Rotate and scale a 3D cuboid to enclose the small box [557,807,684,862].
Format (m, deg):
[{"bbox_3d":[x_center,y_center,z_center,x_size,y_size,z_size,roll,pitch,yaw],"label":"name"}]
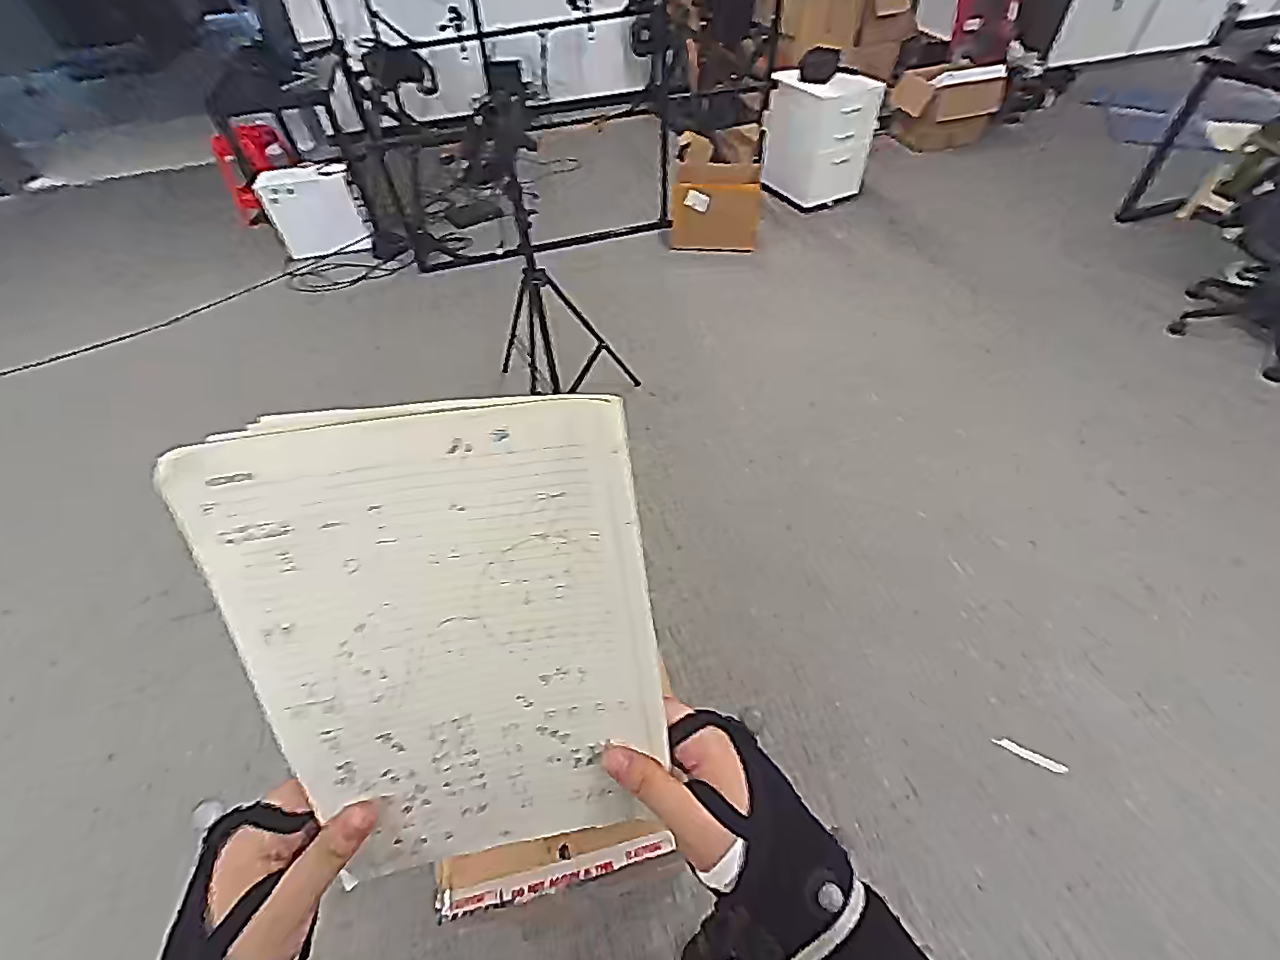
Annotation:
[{"bbox_3d":[-0.046,0.459,0.832,0.179,0.176,0.168,-15,51,-11],"label":"small box"}]

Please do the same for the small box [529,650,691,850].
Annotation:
[{"bbox_3d":[-0.043,0.353,0.706,0.168,0.176,0.179,-12,52,-10],"label":"small box"}]
